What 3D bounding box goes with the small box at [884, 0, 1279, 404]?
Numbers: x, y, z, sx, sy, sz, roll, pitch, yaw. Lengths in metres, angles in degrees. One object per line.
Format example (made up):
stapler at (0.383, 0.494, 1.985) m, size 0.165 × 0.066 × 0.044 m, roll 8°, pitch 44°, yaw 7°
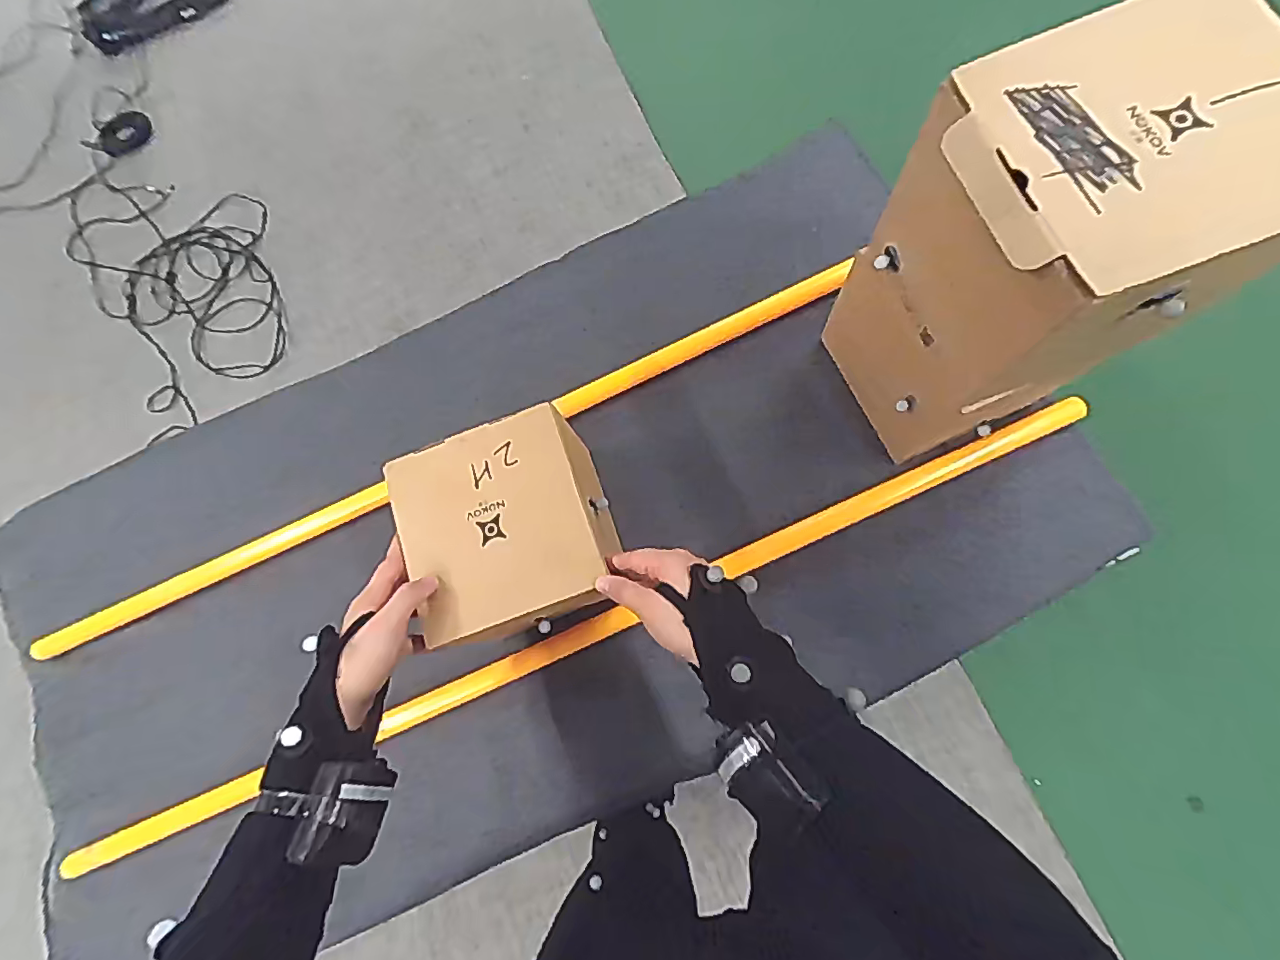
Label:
small box at (0.296, -0.174, 0.376) m, size 0.179 × 0.176 × 0.168 m, roll -20°, pitch 76°, yaw 2°
